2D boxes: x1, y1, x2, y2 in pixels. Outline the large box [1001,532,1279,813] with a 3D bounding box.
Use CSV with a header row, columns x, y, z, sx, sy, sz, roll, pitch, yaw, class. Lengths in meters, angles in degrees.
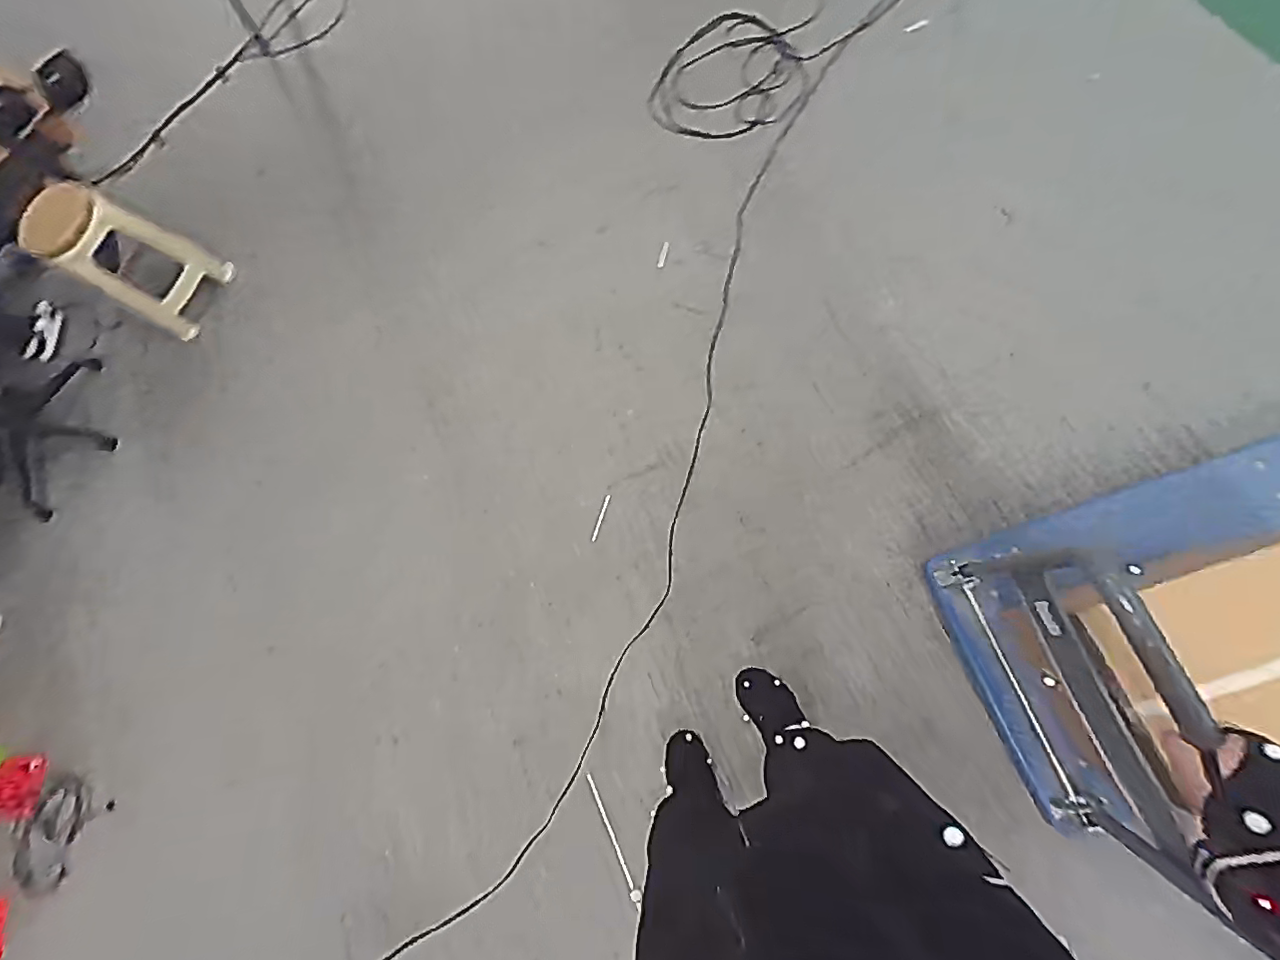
x,y,z,sx,sy,sz,roll,pitch,yaw,class
0.968,0.315,0.953,0.408,0.320,0.320,-23,73,7,large box
